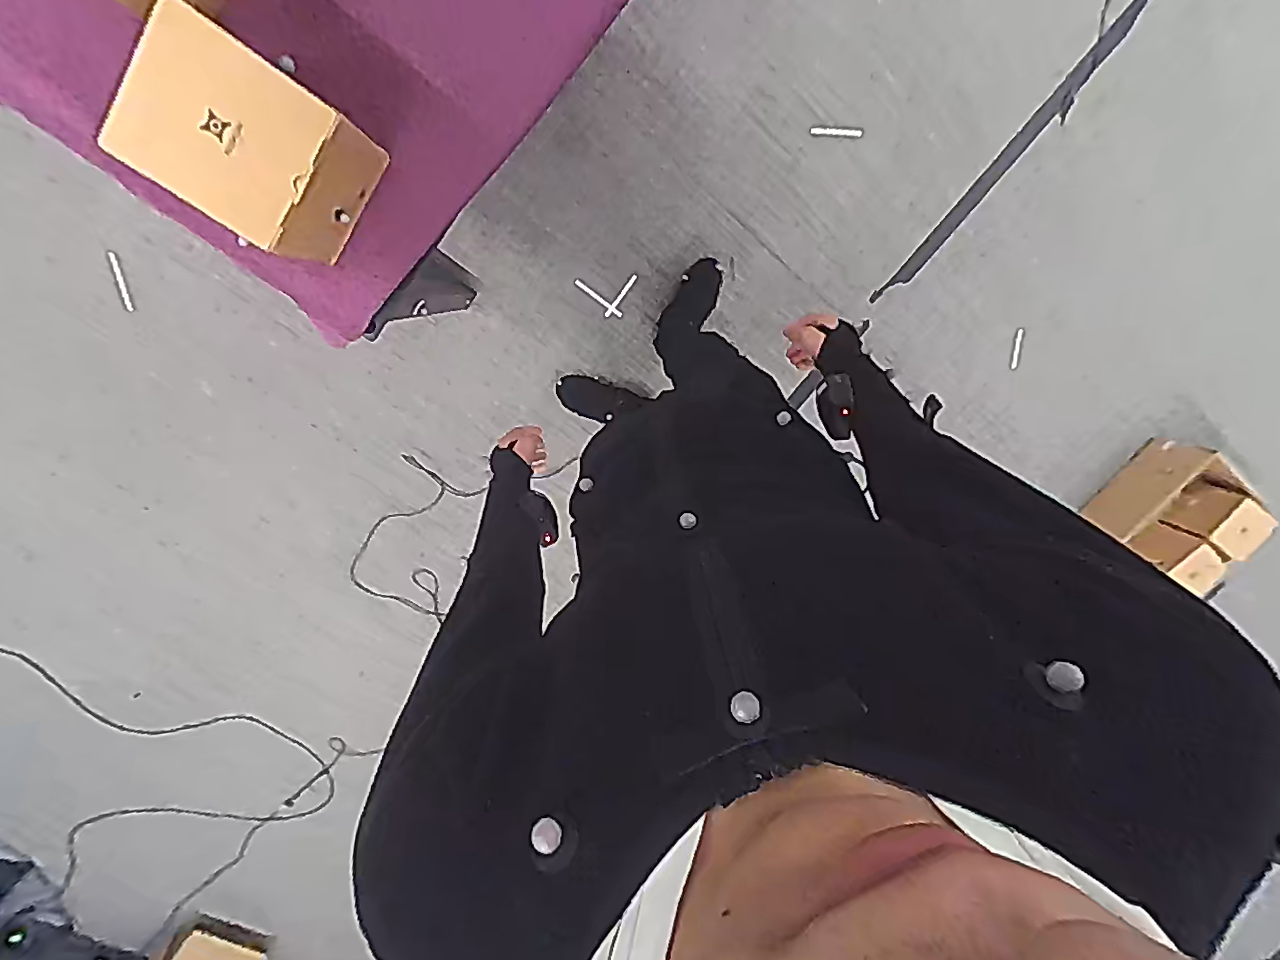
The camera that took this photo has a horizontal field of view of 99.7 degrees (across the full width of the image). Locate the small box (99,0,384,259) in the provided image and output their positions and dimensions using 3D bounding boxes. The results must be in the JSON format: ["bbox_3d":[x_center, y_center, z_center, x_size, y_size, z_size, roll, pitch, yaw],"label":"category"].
[{"bbox_3d":[-0.433,-0.375,0.621,0.179,0.176,0.168,32,101,-16],"label":"small box"}]
